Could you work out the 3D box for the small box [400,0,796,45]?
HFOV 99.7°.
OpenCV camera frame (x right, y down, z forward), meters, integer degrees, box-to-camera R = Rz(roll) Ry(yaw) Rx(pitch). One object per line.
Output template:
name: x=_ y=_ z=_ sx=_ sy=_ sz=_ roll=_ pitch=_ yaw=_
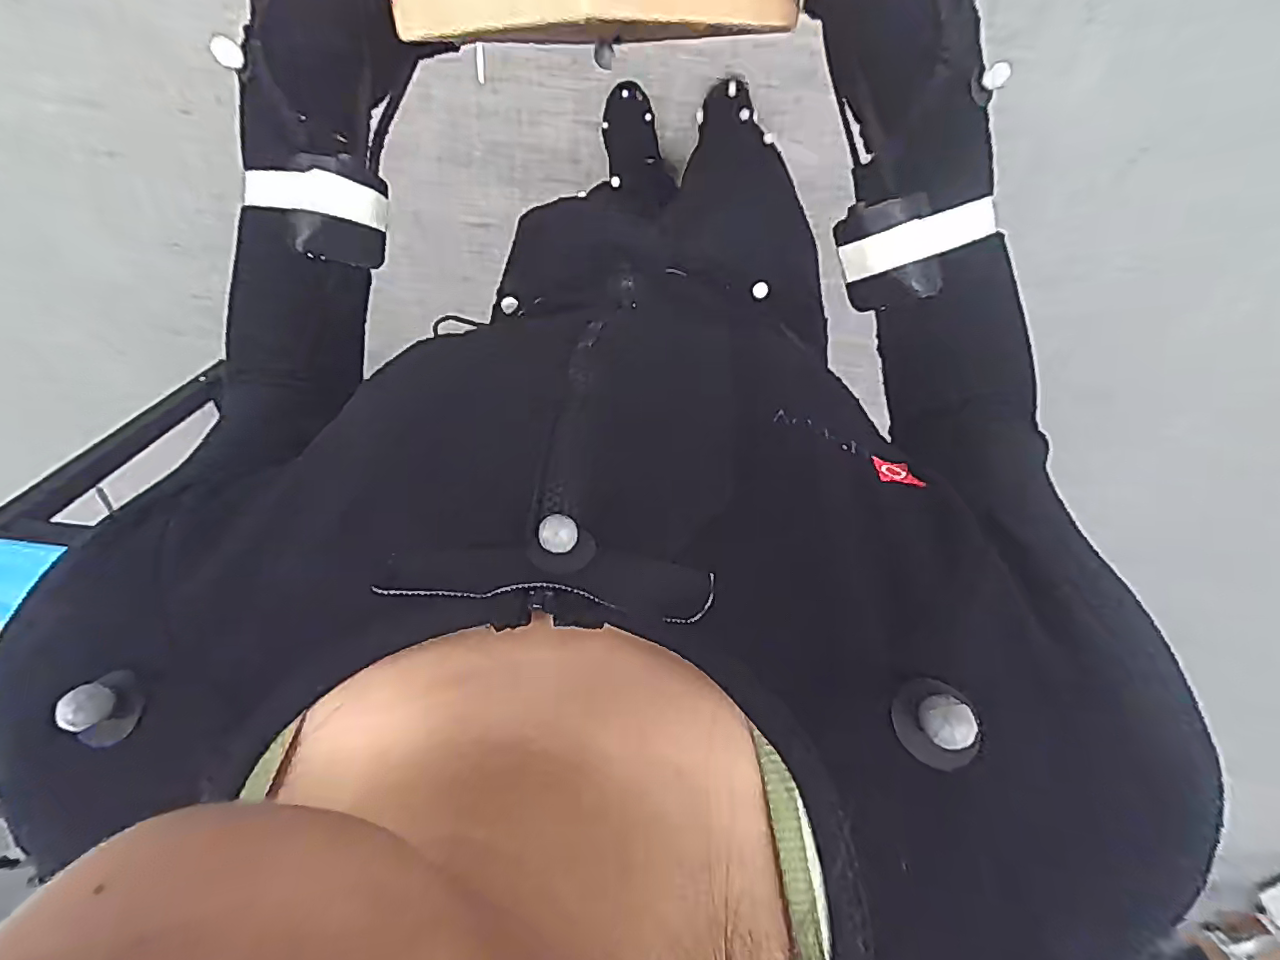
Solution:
small box: x=-0.025 y=-0.339 z=0.282 sx=0.176 sy=0.179 sz=0.168 roll=31 pitch=137 yaw=36
